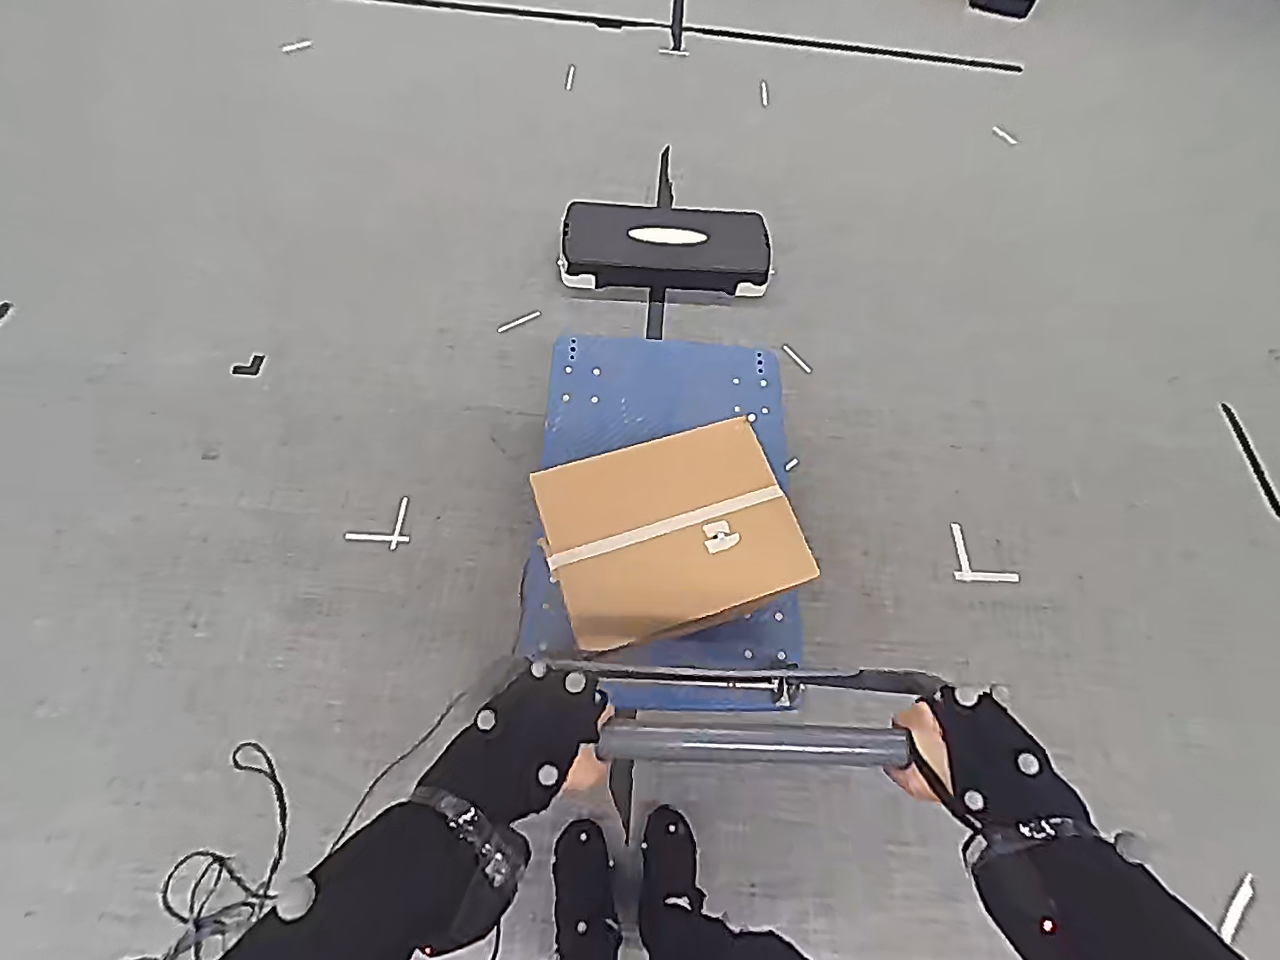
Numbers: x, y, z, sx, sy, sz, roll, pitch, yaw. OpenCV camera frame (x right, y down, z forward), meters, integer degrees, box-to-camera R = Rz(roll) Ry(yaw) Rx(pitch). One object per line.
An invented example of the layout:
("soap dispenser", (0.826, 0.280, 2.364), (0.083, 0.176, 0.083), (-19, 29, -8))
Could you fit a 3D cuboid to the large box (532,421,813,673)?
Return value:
("large box", (0.038, 0.139, 1.032), (0.408, 0.320, 0.320), (-16, 70, -13))
